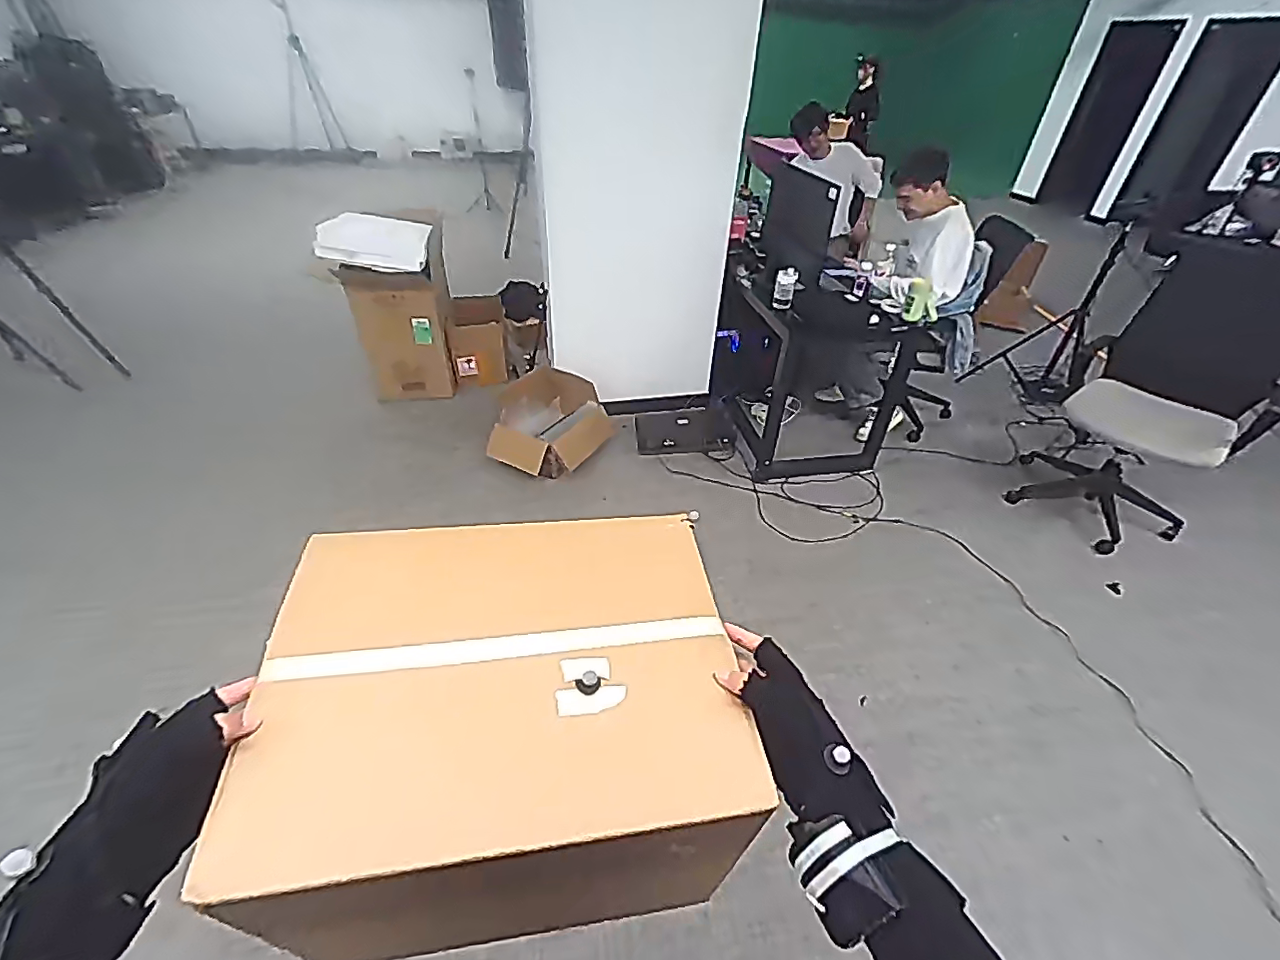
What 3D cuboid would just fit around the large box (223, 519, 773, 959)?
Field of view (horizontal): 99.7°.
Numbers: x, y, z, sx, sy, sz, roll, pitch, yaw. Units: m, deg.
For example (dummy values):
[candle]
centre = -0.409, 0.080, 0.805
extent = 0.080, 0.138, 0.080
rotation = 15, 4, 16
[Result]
[large box]
centre = -0.127, 0.268, 0.599
extent = 0.408, 0.320, 0.320
rotation = -2, 43, -11
